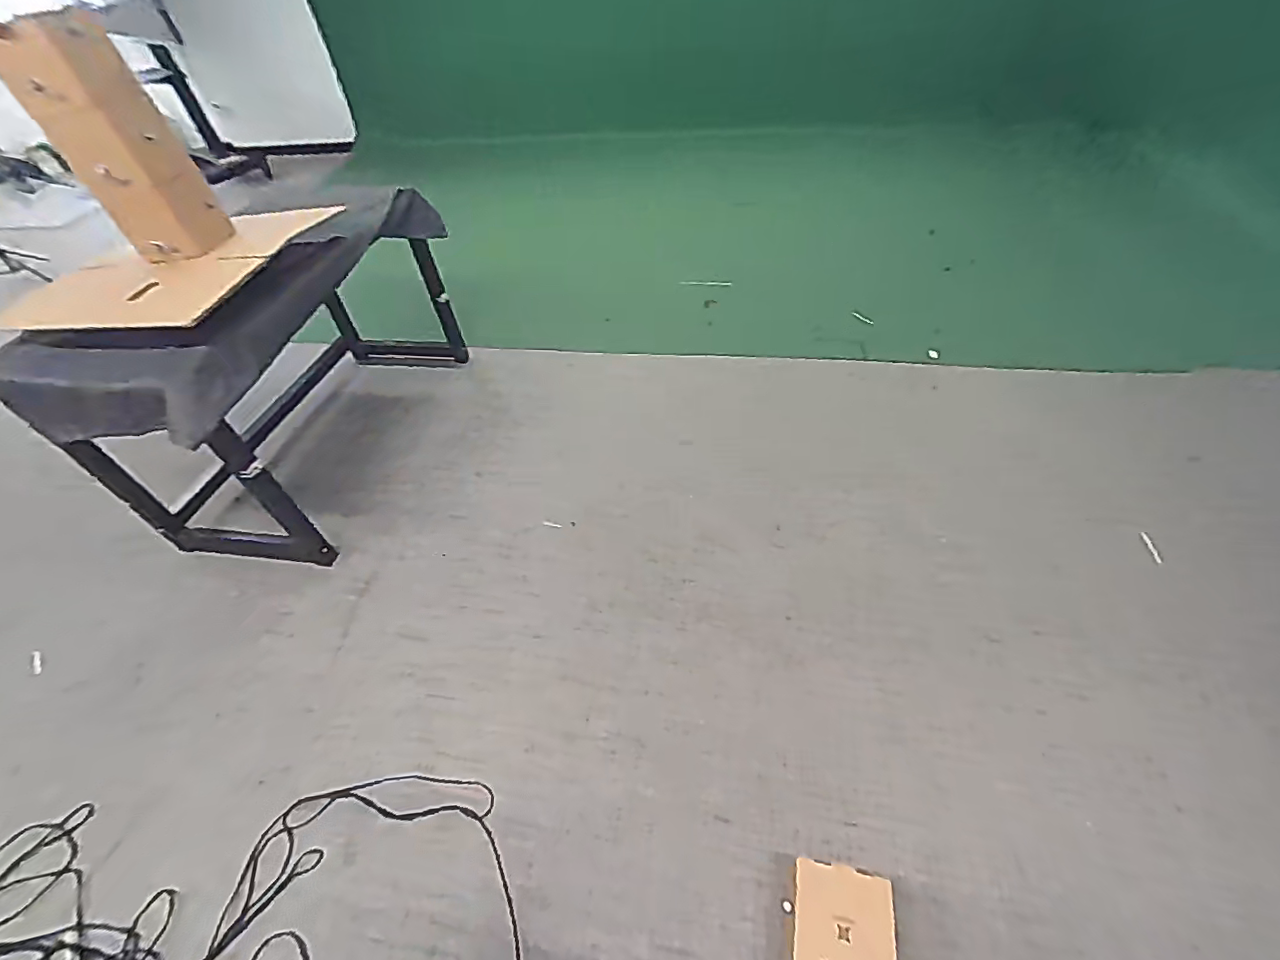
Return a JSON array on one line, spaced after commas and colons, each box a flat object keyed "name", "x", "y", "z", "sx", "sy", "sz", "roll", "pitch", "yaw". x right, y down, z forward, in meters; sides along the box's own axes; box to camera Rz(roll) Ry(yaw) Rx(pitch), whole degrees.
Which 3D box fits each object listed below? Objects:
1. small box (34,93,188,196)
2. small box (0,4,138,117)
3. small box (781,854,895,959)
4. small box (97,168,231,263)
[{"name": "small box", "x": -1.253, "y": -0.807, "z": 1.304, "sx": 0.168, "sy": 0.176, "sz": 0.179, "roll": -6, "pitch": 45, "yaw": 5}, {"name": "small box", "x": -1.279, "y": -0.923, "z": 1.193, "sx": 0.168, "sy": 0.176, "sz": 0.179, "roll": -6, "pitch": 46, "yaw": 5}, {"name": "small box", "x": 0.352, "y": 0.817, "z": 0.981, "sx": 0.168, "sy": 0.176, "sz": 0.179, "roll": 7, "pitch": 47, "yaw": 12}, {"name": "small box", "x": -1.230, "y": -0.692, "z": 1.419, "sx": 0.168, "sy": 0.176, "sz": 0.179, "roll": -5, "pitch": 46, "yaw": 6}]
